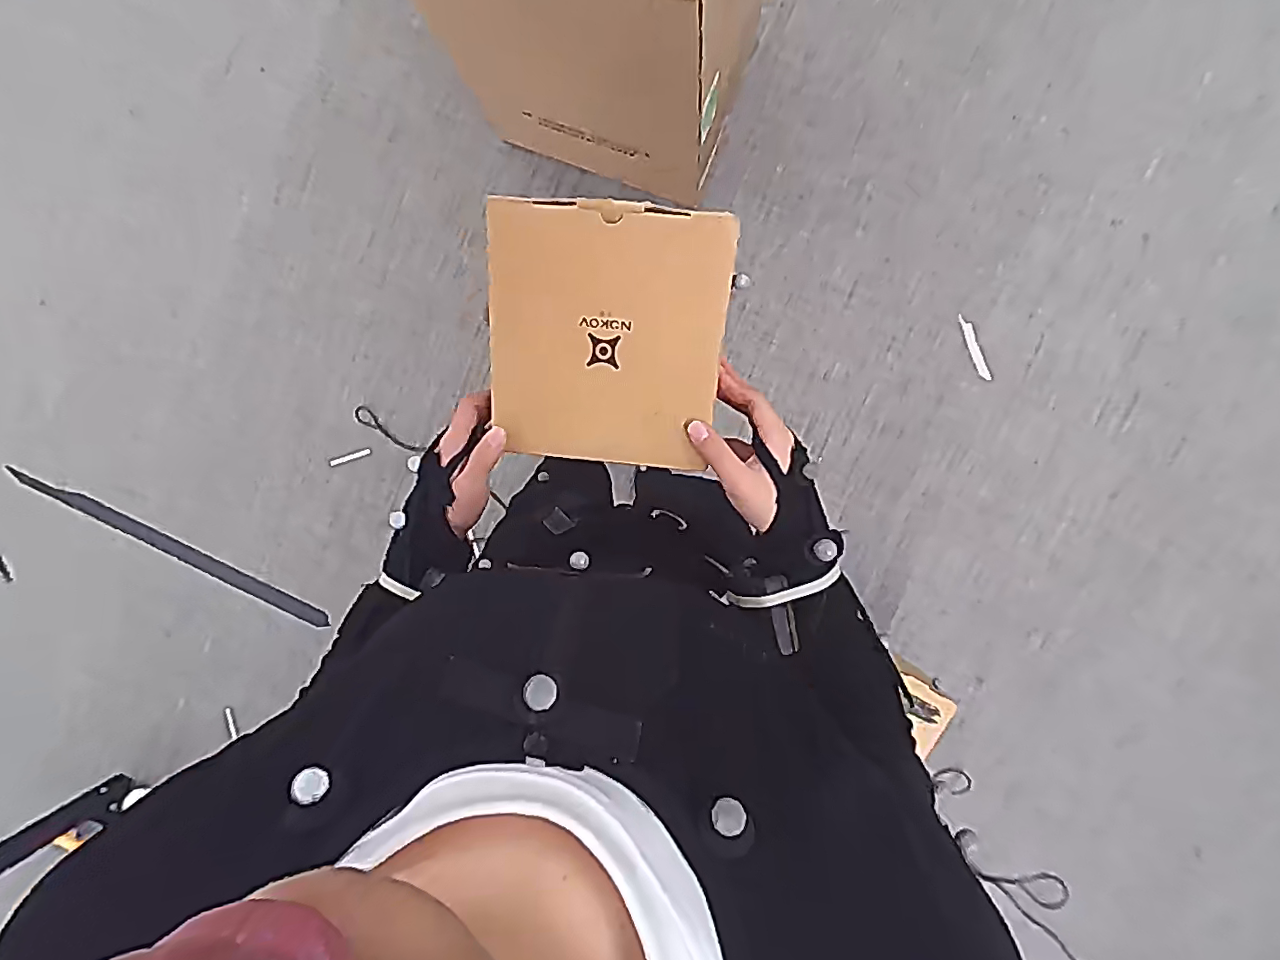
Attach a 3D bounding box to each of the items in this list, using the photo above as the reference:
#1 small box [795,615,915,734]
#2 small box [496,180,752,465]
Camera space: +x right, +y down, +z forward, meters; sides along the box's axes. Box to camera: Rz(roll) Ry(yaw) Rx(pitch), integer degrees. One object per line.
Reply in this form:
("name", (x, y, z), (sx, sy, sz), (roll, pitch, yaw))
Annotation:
("small box", (0.483, 0.435, 1.245), (0.179, 0.176, 0.168), (30, 94, 5))
("small box", (-0.010, -0.128, 0.441), (0.168, 0.176, 0.179), (6, 111, 3))
